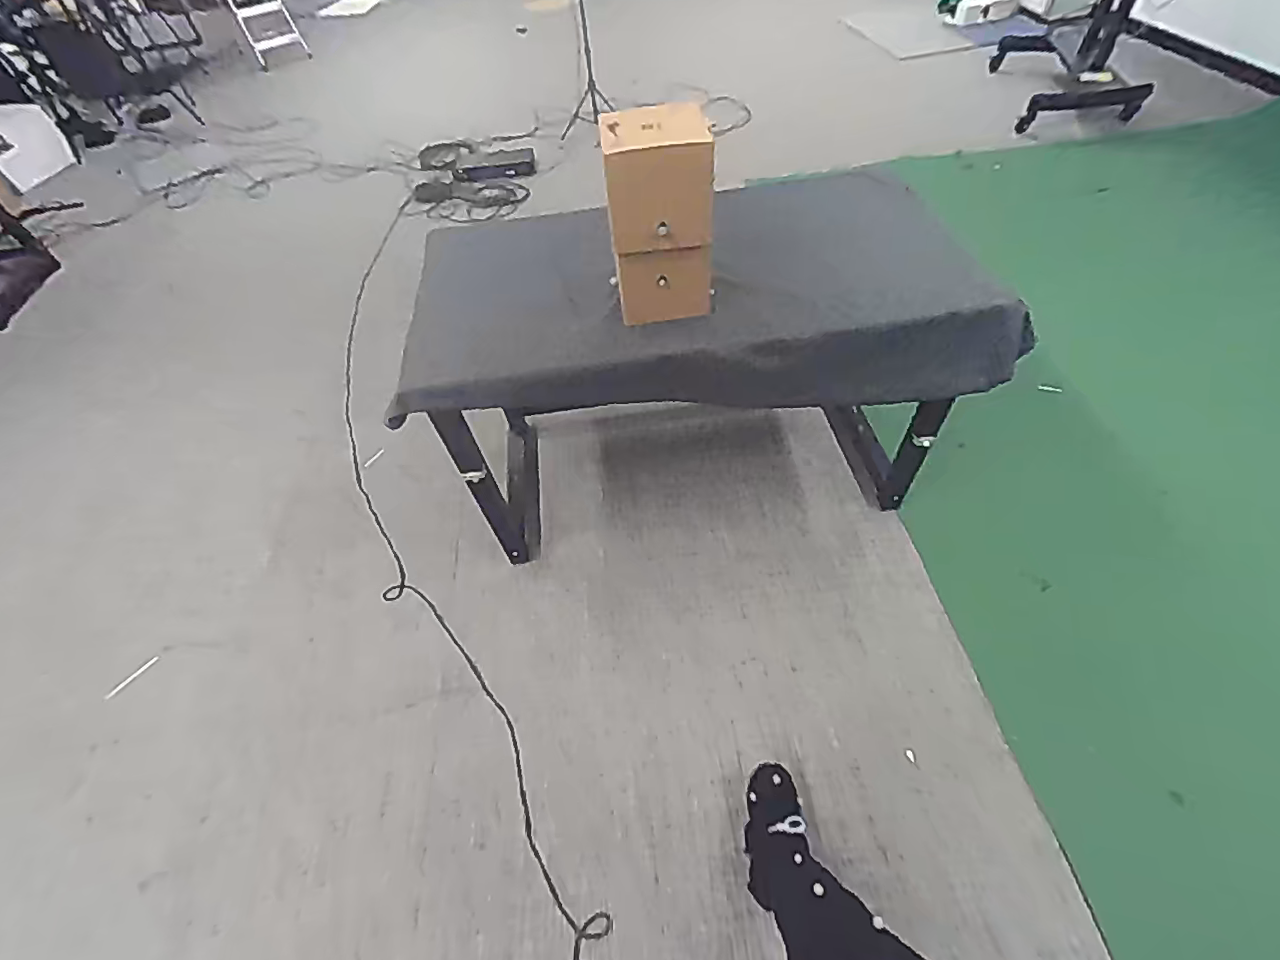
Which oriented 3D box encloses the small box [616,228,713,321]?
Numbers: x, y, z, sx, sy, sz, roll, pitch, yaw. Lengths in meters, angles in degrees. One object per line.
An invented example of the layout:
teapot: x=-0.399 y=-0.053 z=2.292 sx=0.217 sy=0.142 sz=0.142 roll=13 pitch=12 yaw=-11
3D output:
small box: x=0.043 y=-0.440 z=1.076 sx=0.179 sy=0.176 sz=0.168 roll=-8 pitch=53 yaw=0

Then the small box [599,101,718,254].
small box: x=0.030 y=-0.519 z=0.935 sx=0.179 sy=0.176 sz=0.168 roll=-9 pitch=54 yaw=0
